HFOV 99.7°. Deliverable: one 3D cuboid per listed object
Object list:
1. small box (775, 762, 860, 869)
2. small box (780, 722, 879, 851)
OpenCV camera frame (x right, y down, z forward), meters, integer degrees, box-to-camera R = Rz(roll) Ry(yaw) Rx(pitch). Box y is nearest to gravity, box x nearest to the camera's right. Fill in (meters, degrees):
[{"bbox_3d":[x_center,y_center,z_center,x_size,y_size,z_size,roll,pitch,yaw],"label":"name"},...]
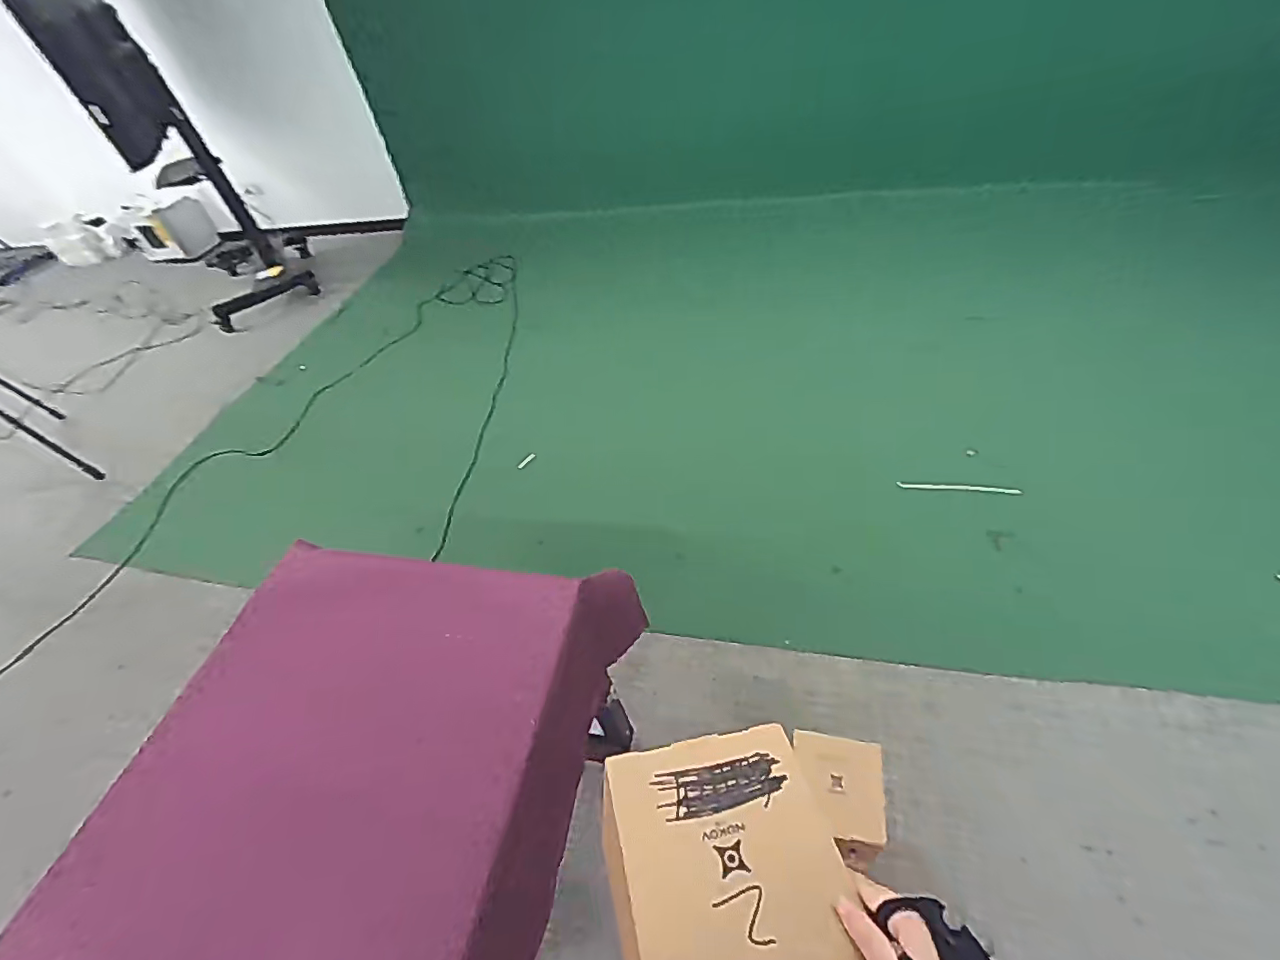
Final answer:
[{"bbox_3d":[0.392,0.732,1.197,0.168,0.176,0.179,6,49,16],"label":"small box"},{"bbox_3d":[0.373,0.617,1.083,0.168,0.176,0.179,5,48,13],"label":"small box"}]
